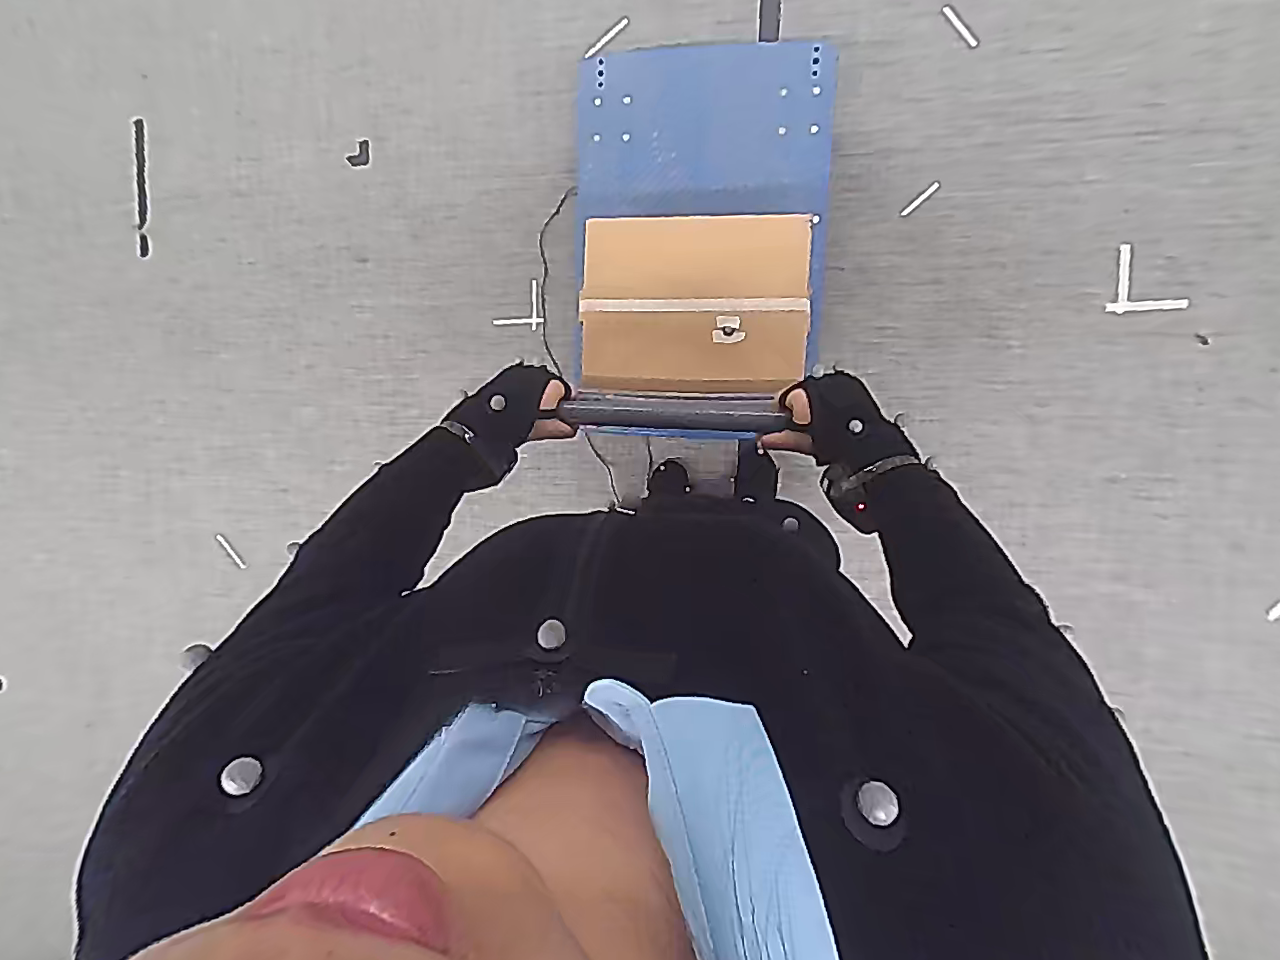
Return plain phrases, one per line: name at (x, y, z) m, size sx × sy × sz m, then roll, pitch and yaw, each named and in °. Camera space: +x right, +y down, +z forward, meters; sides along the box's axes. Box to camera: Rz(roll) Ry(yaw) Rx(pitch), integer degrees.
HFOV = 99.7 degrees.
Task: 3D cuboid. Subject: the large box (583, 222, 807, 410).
large box at (0.108, -0.310, 1.119) m, size 0.408 × 0.320 × 0.320 m, roll 2°, pitch 95°, yaw 7°
